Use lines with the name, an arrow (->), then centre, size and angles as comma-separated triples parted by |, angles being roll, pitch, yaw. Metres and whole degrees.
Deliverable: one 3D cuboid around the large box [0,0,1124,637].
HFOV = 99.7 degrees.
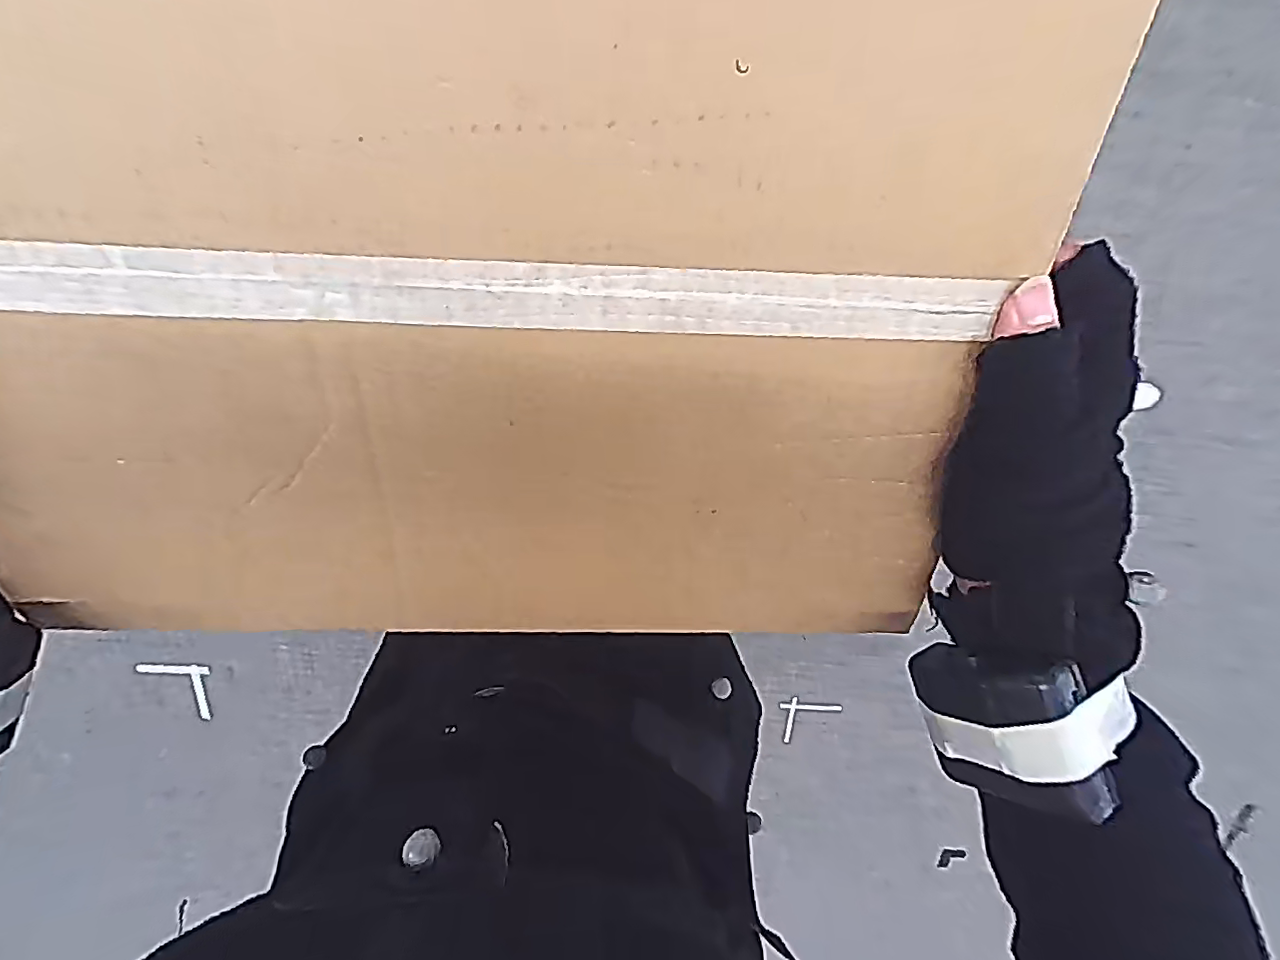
large box -> -0.070, -0.131, 0.321 | 0.408, 0.320, 0.320 | 1, 119, -4
